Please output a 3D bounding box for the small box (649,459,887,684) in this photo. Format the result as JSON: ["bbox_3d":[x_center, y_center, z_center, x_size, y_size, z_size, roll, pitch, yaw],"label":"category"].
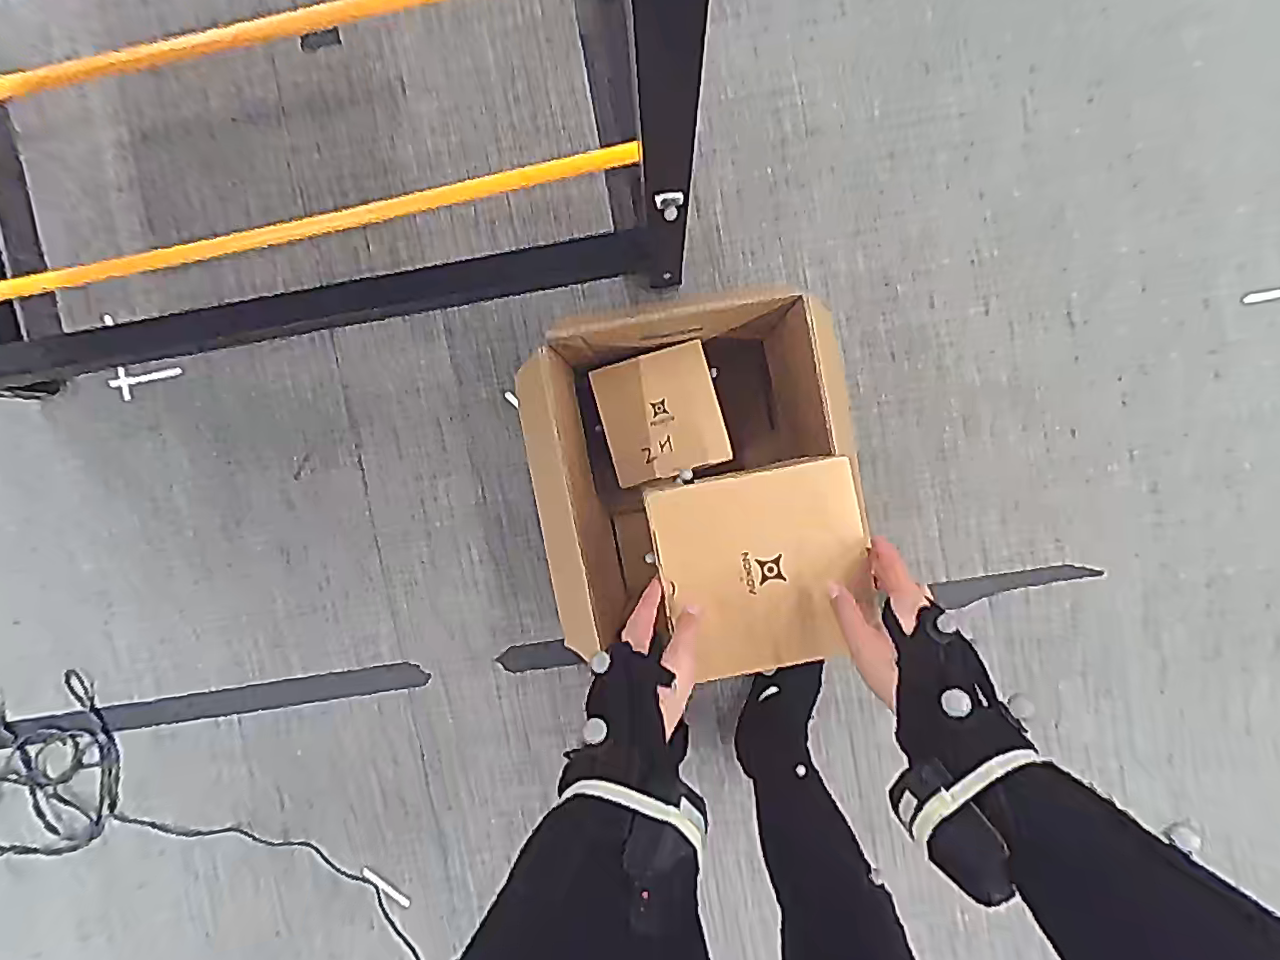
[{"bbox_3d":[0.107,0.075,0.529,0.179,0.176,0.168,-11,89,1],"label":"small box"}]
